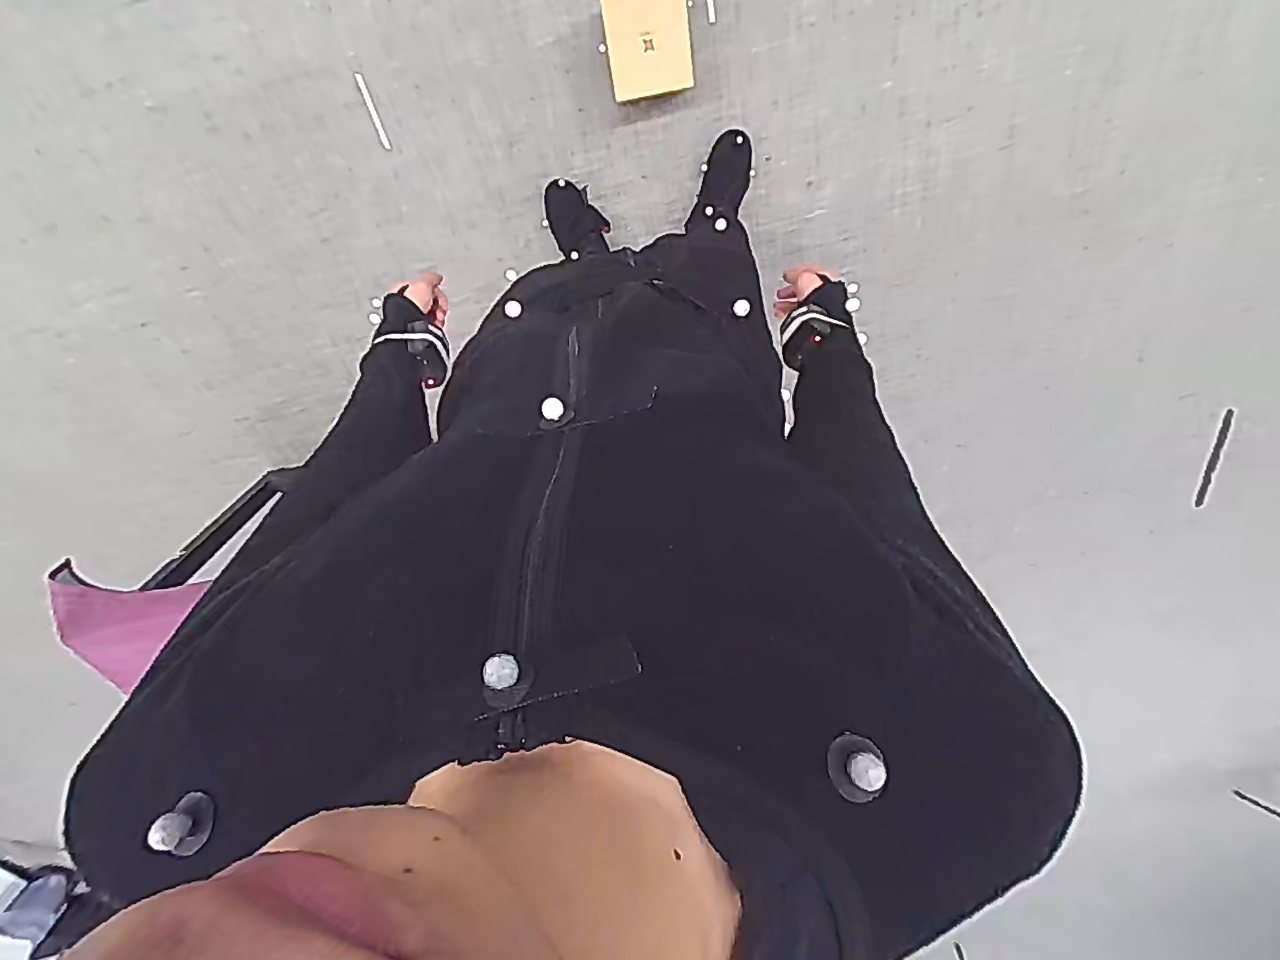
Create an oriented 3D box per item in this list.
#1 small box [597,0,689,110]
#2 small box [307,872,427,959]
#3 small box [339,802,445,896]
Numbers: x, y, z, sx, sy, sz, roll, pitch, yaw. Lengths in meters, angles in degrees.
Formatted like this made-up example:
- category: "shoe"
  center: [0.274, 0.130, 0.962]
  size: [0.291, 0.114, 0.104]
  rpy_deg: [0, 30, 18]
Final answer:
- category: "small box"
  center: [0.010, -0.904, 1.150]
  size: [0.168, 0.176, 0.179]
  rpy_deg: [-9, 121, 4]
- category: "small box"
  center: [-0.664, 1.110, 1.338]
  size: [0.179, 0.176, 0.168]
  rpy_deg: [-22, 120, 12]
- category: "small box"
  center: [-0.663, 1.015, 1.472]
  size: [0.168, 0.176, 0.179]
  rpy_deg: [-21, 119, 12]
